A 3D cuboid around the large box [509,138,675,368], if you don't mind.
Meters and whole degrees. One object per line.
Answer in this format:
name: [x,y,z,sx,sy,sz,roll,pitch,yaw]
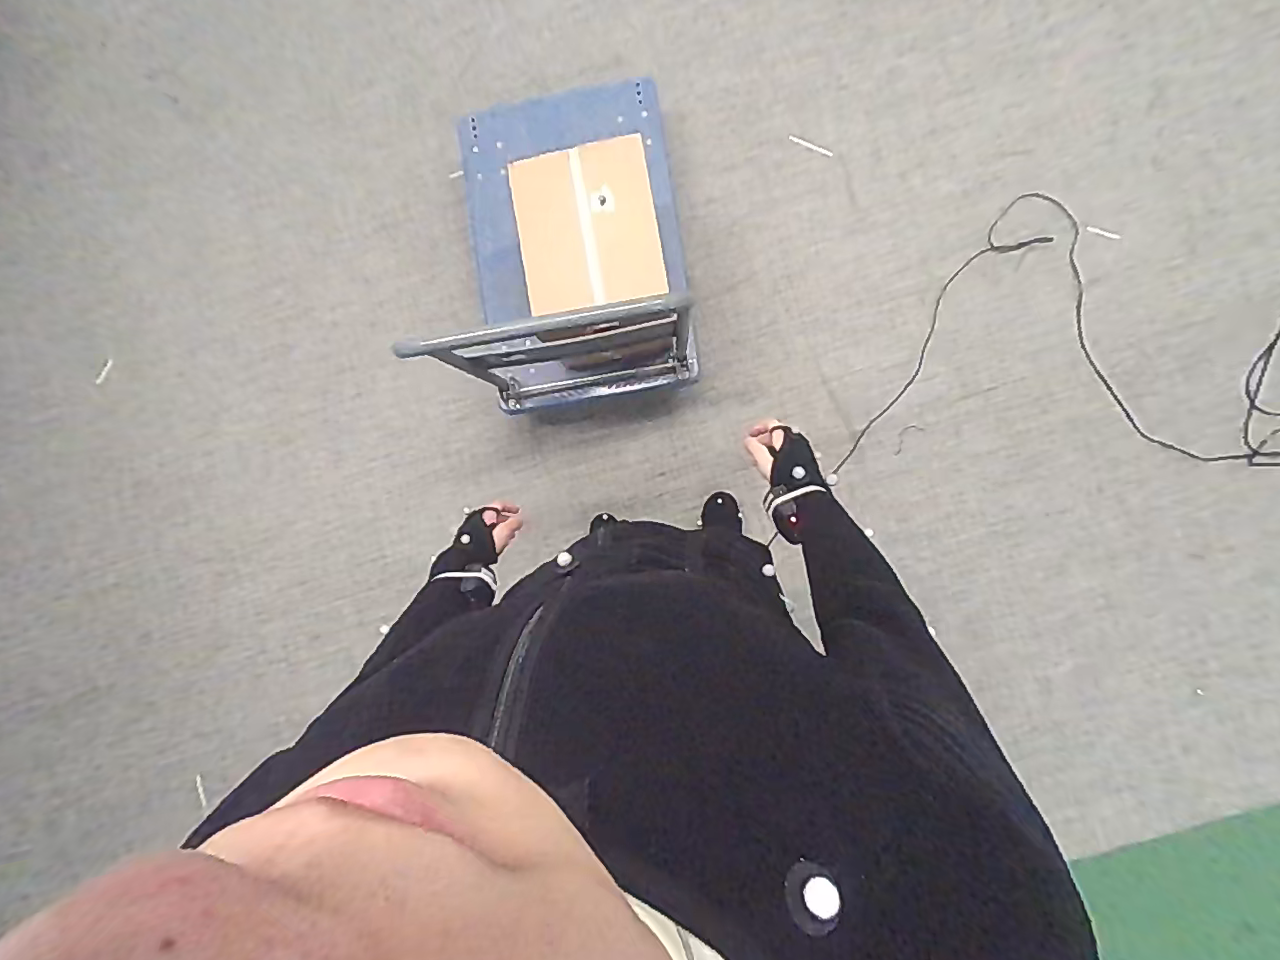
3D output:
large box: [-0.100,-0.534,1.349,0.320,0.320,0.408,-10,87,3]
